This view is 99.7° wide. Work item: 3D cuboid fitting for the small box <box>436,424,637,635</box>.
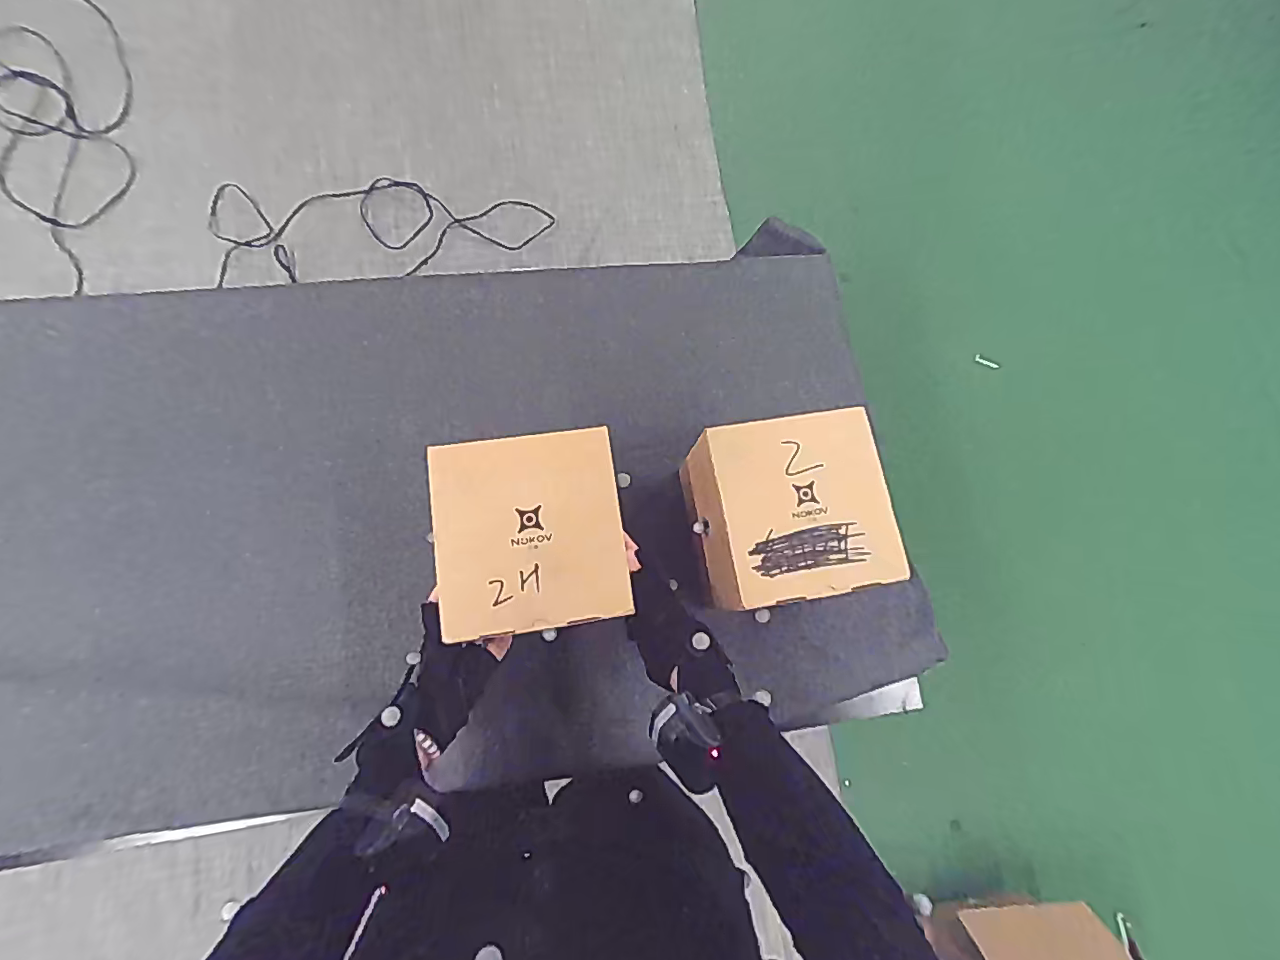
[{"bbox_3d":[-0.102,0.057,0.556,0.168,0.176,0.179,-7,78,-7],"label":"small box"}]
